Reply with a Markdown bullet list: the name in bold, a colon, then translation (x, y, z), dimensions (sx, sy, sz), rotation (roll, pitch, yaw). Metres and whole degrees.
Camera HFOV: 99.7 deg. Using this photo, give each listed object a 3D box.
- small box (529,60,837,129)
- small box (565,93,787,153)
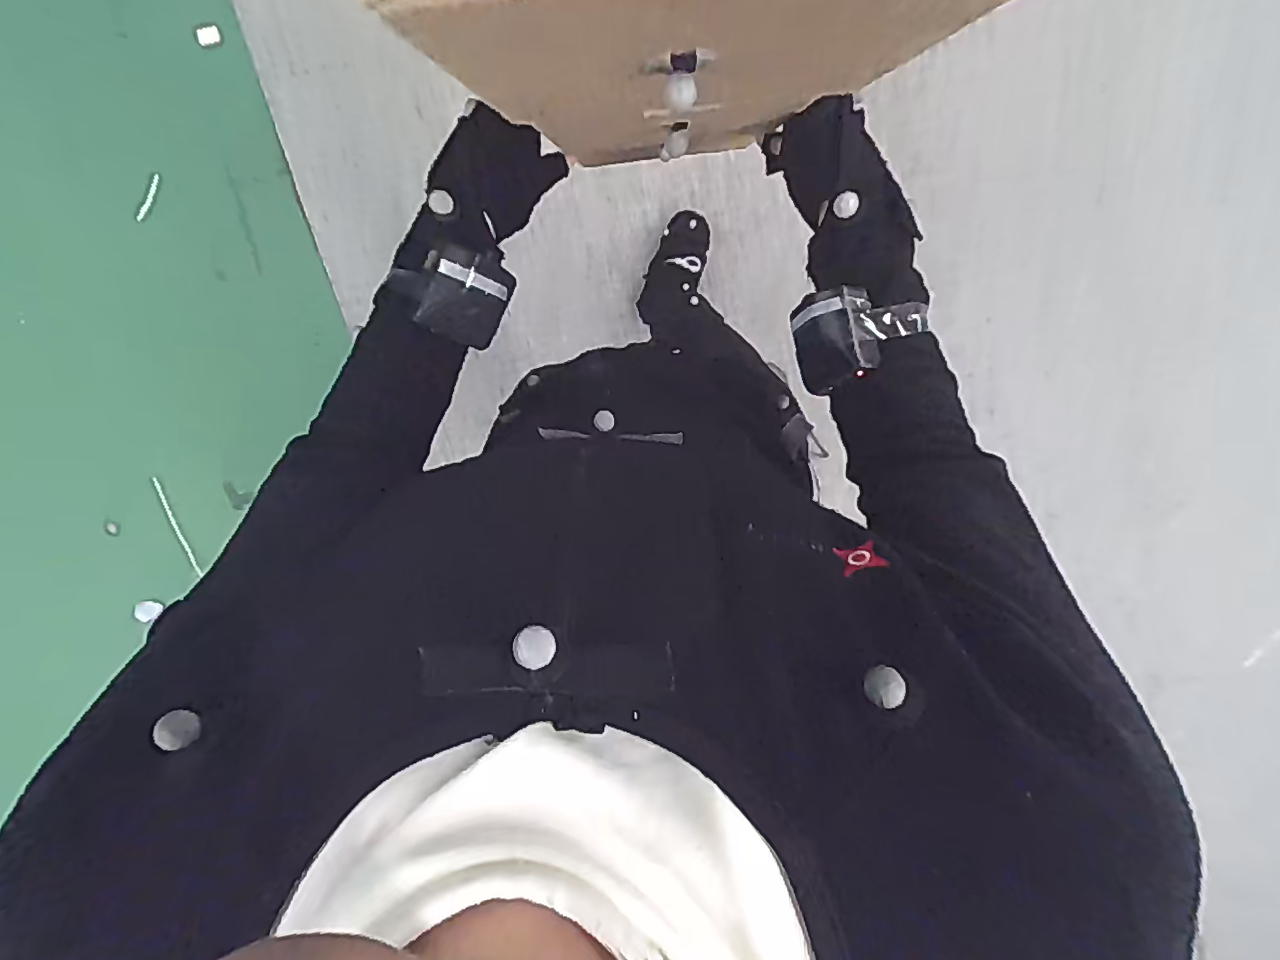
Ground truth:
- **small box**: translation (0.015, -0.317, 0.313), dimensions (0.168, 0.176, 0.179), rotation (-5, 116, 3)
- **small box**: translation (0.019, -0.390, 0.460), dimensions (0.179, 0.176, 0.168), rotation (-7, 116, 2)
